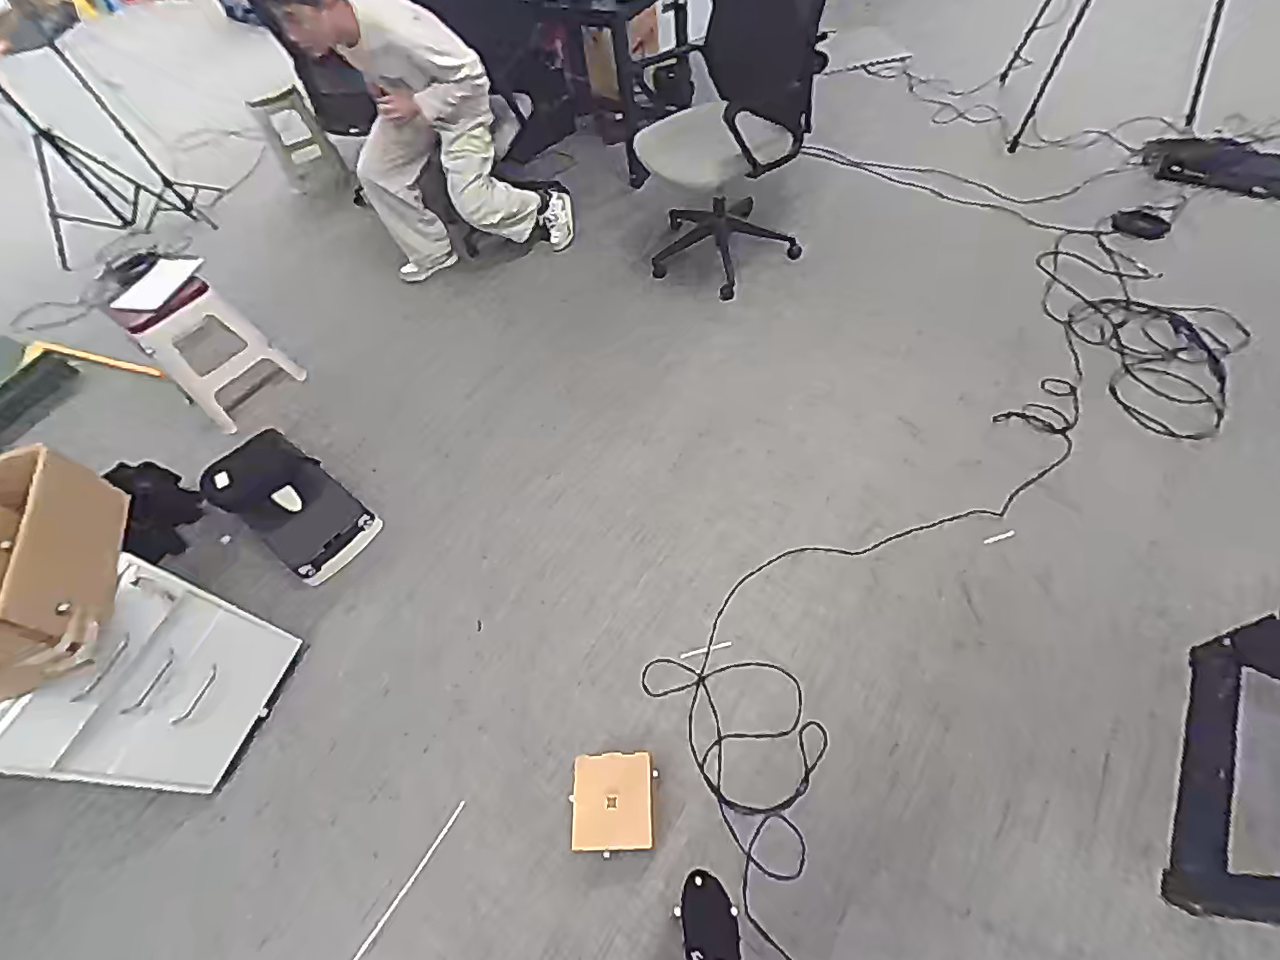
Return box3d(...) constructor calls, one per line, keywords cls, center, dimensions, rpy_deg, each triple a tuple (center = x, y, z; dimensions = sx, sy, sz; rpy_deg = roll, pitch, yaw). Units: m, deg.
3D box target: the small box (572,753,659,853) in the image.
box3d(cls="small box", center=(-0.050, 0.716, 1.198), dimensions=(0.168, 0.176, 0.179), rpy_deg=(-6, 55, 5))
